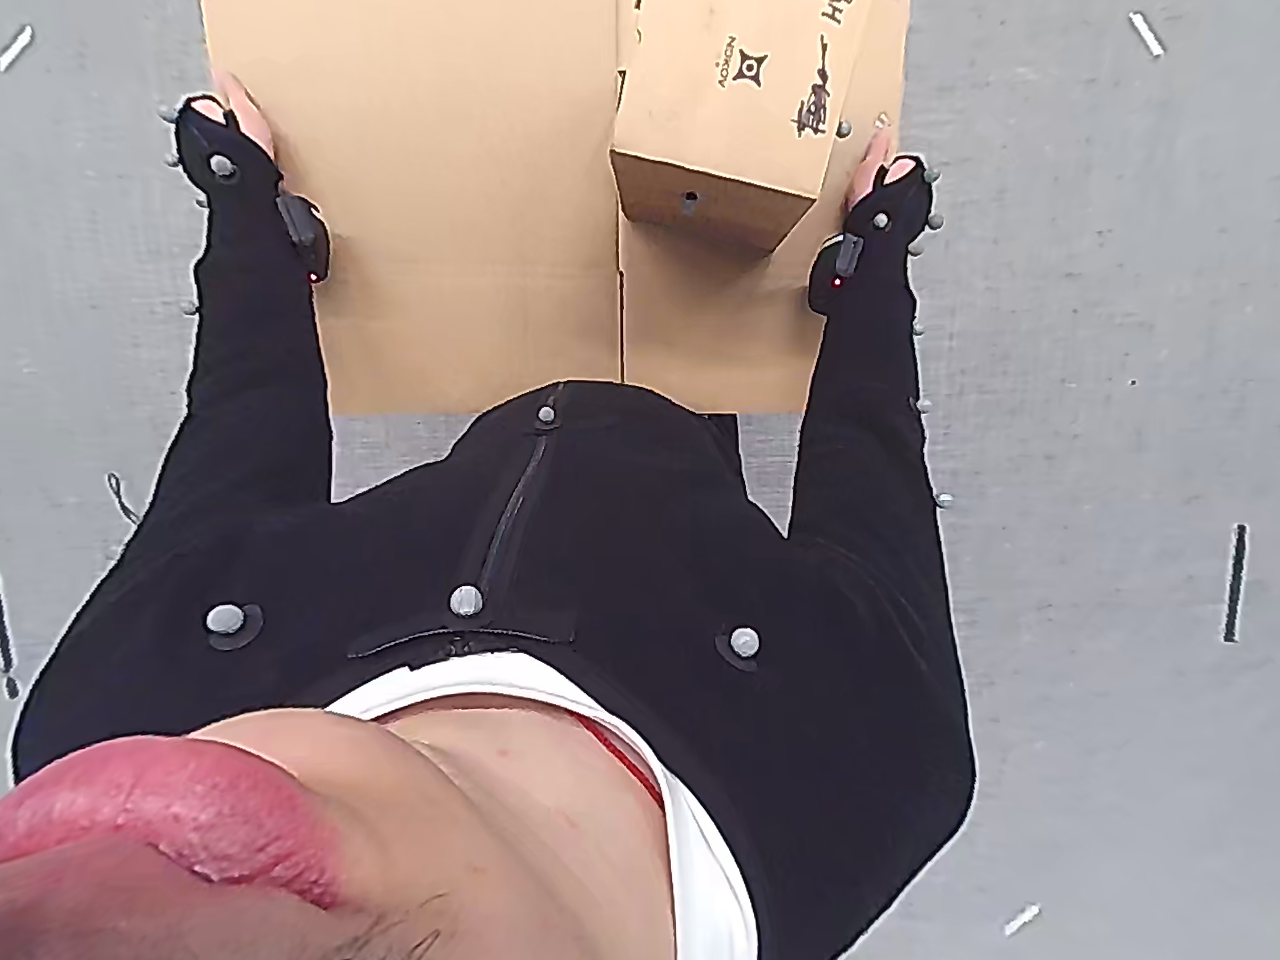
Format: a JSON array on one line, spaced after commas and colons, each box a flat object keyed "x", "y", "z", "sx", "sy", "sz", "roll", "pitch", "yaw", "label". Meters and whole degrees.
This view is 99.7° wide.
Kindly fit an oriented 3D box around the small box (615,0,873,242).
[{"x": 0.086, "y": -0.342, "z": 0.507, "sx": 0.179, "sy": 0.176, "sz": 0.168, "roll": 14, "pitch": 100, "yaw": 1, "label": "small box"}]
